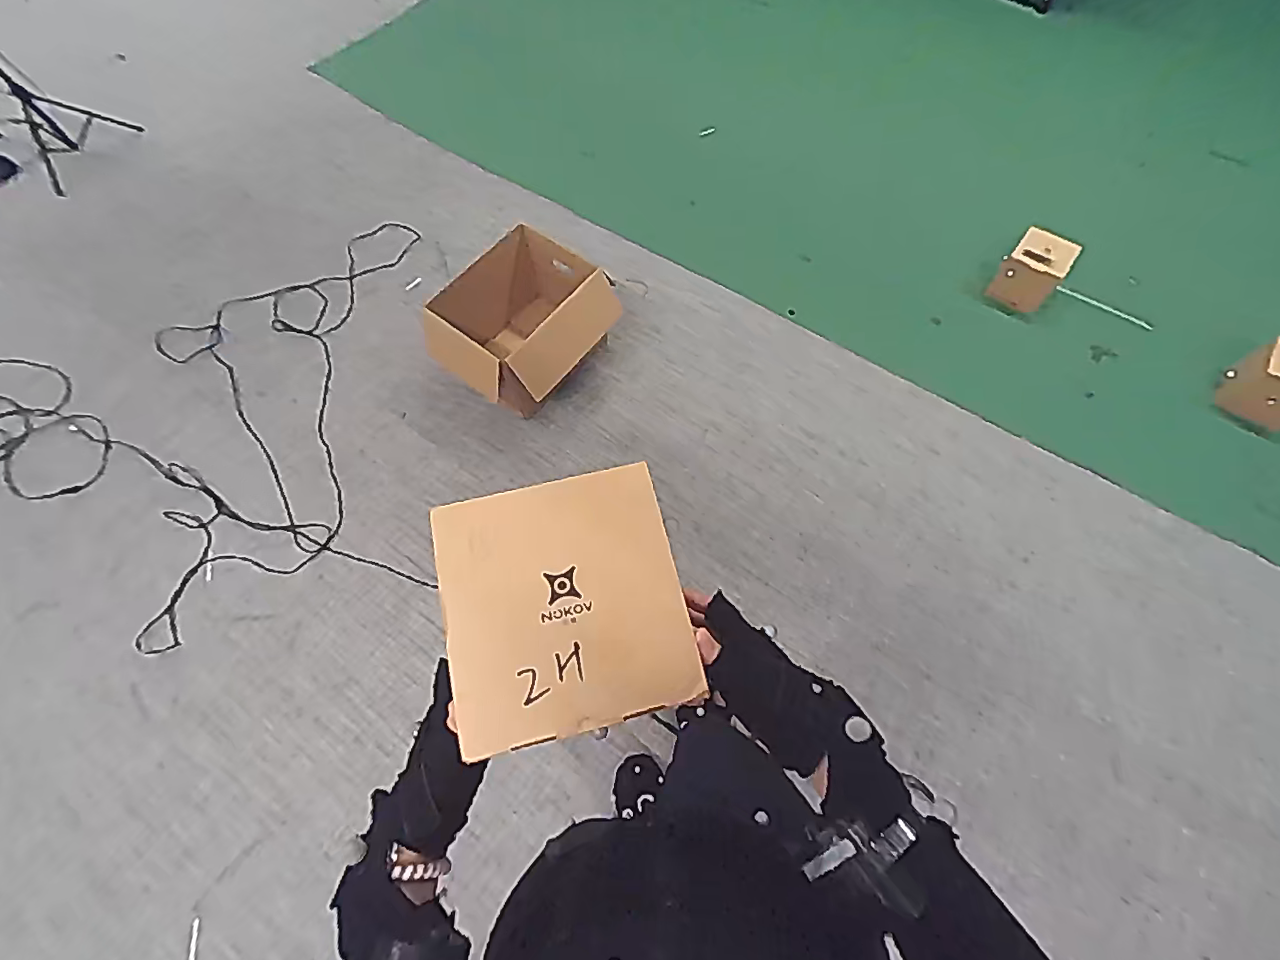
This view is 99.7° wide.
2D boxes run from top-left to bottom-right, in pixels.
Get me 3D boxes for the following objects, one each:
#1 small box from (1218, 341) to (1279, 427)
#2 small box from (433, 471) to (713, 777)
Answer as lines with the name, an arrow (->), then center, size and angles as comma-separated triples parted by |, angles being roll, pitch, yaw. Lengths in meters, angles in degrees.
small box -> 1.859, -0.278, 1.561 | 0.179, 0.176, 0.168 | 34, 70, 16
small box -> -0.053, 0.115, 0.440 | 0.168, 0.176, 0.179 | -12, 71, -6
